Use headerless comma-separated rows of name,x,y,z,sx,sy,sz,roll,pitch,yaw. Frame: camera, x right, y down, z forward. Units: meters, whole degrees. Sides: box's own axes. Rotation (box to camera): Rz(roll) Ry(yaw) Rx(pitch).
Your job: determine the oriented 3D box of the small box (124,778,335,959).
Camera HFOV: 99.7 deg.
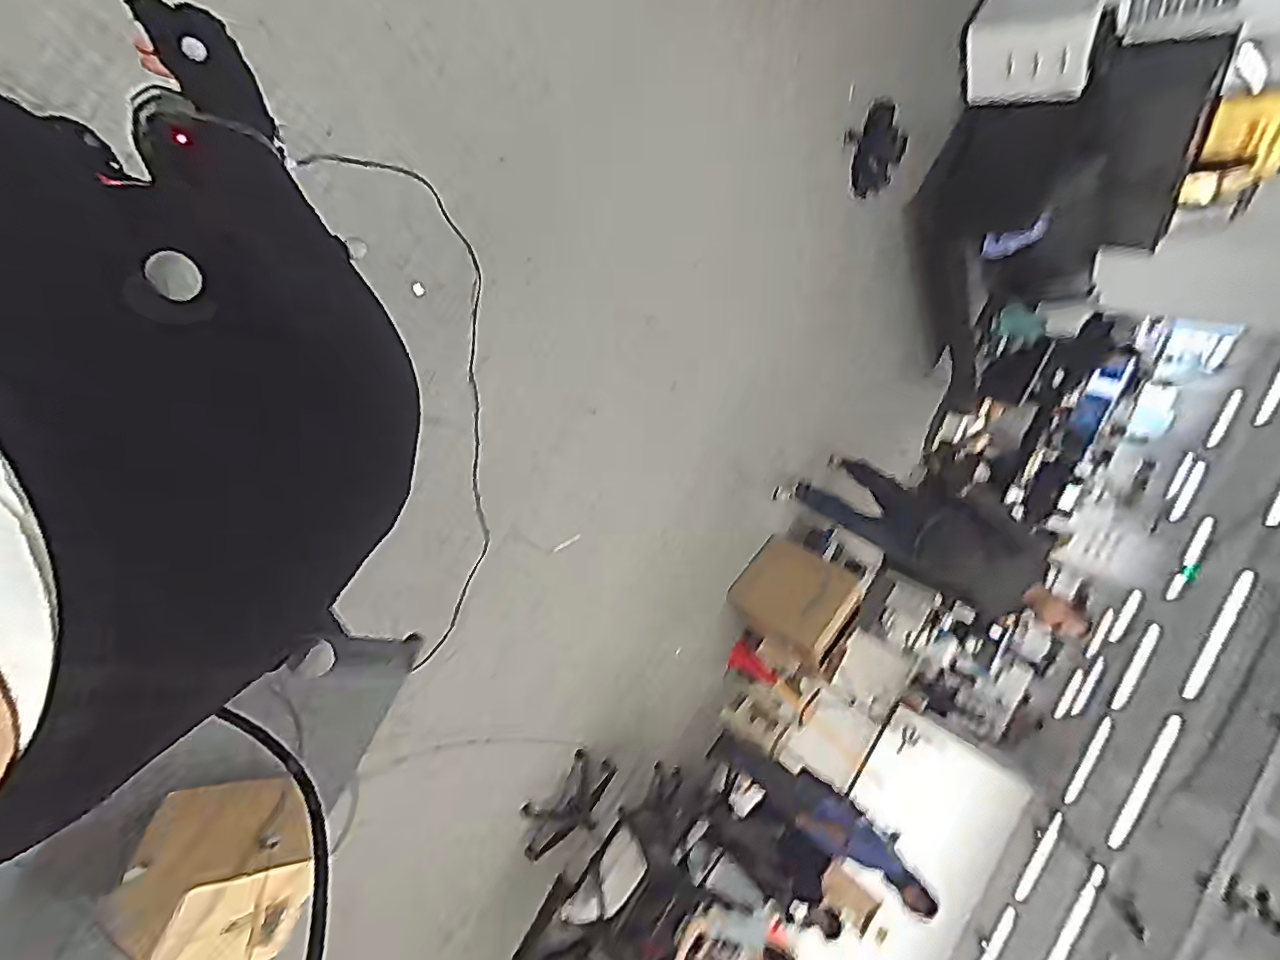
small box,-0.582,0.555,0.768,0.179,0.176,0.168,28,89,-51
